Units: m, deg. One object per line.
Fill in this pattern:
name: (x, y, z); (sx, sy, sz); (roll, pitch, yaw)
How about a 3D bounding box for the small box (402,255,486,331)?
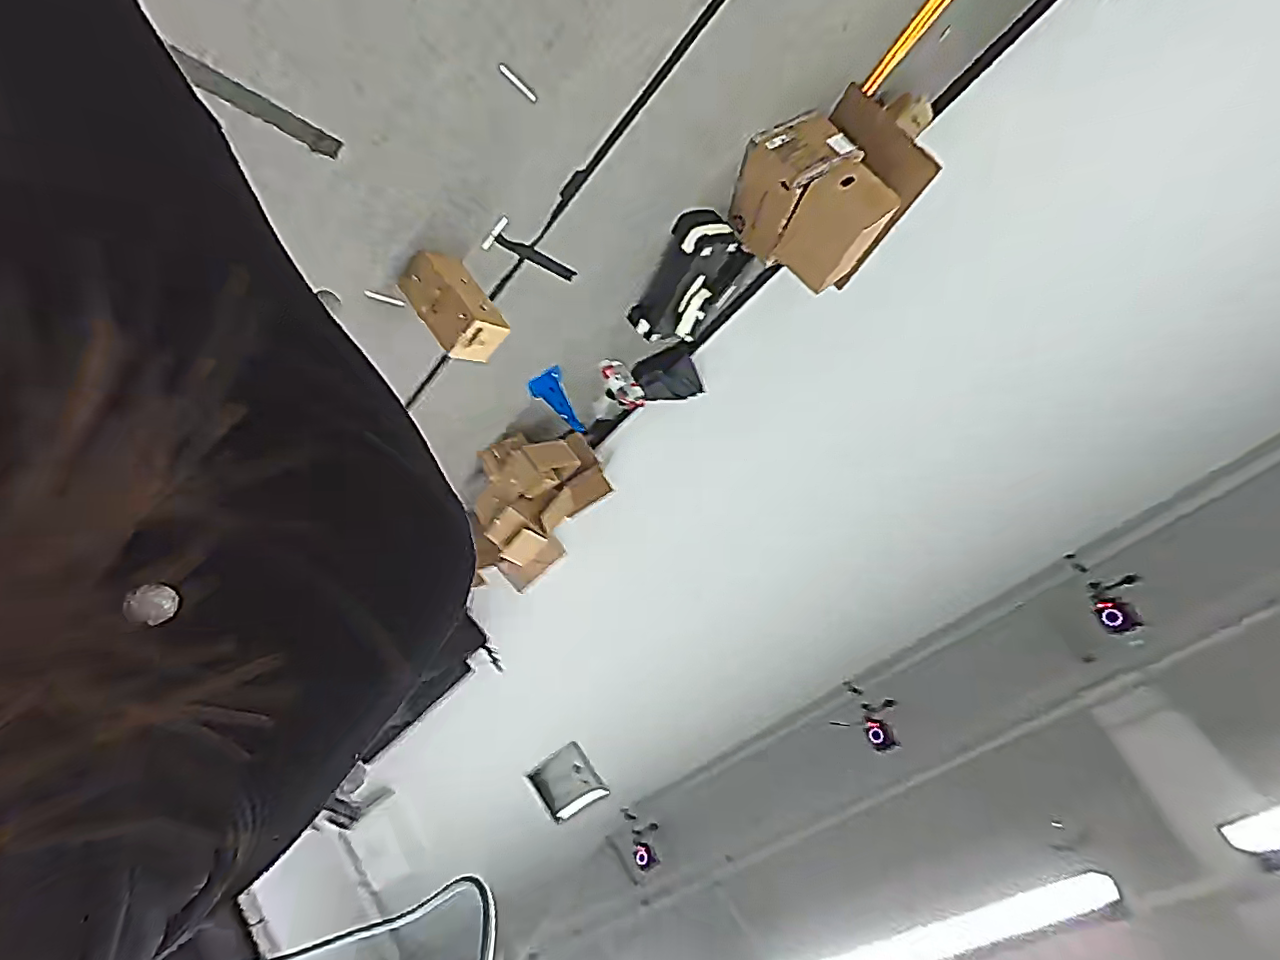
small box: (-0.680, -0.647, 1.873); (0.168, 0.176, 0.179); (-43, 165, 25)
